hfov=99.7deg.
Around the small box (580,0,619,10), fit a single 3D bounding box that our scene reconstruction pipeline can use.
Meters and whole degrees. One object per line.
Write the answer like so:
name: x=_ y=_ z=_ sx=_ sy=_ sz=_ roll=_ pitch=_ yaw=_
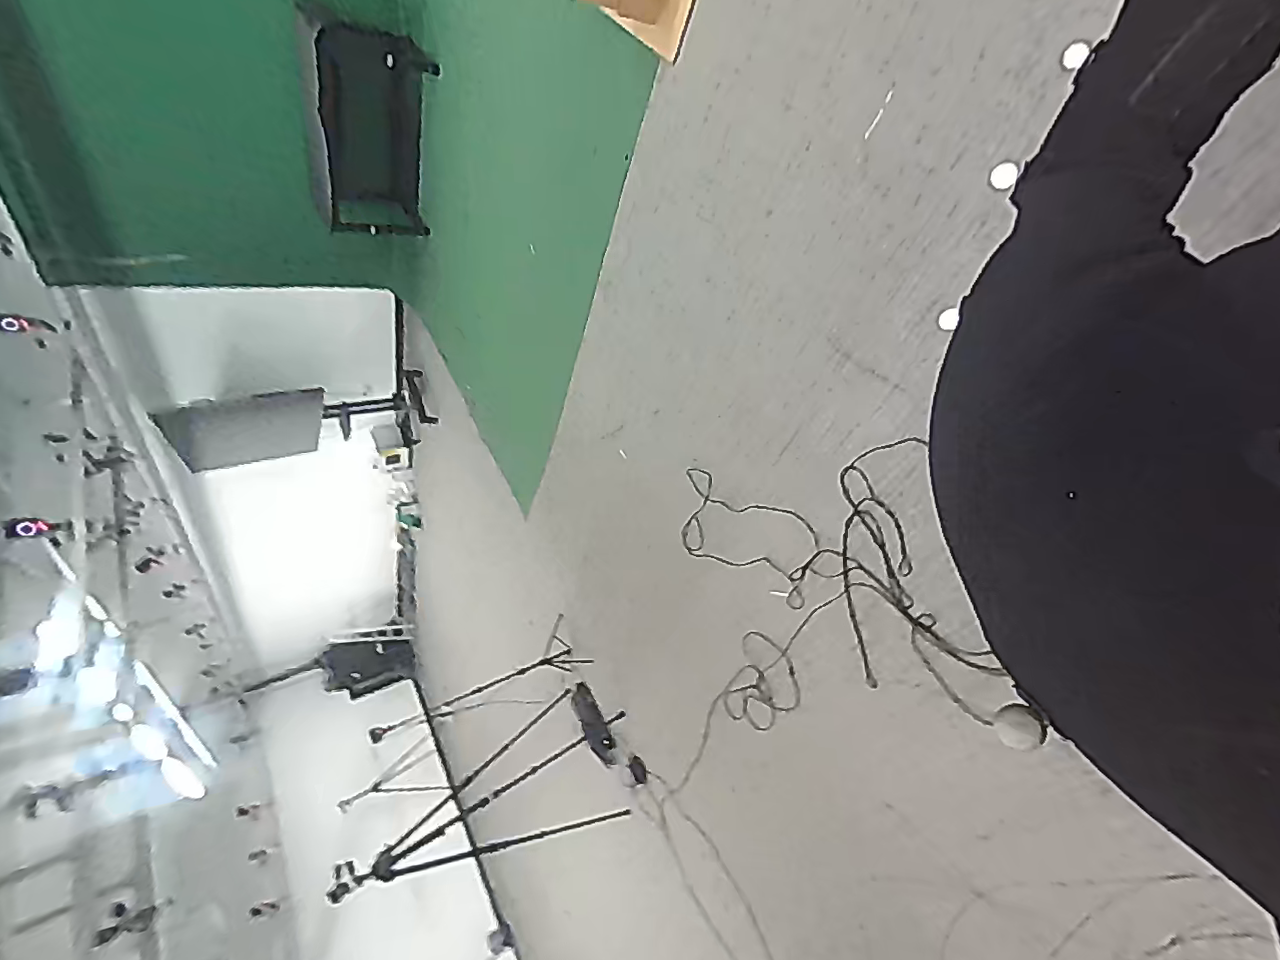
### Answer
small box: x=-0.158 y=-1.749 z=1.832 sx=0.168 sy=0.176 sz=0.179 roll=58 pitch=145 yaw=24
